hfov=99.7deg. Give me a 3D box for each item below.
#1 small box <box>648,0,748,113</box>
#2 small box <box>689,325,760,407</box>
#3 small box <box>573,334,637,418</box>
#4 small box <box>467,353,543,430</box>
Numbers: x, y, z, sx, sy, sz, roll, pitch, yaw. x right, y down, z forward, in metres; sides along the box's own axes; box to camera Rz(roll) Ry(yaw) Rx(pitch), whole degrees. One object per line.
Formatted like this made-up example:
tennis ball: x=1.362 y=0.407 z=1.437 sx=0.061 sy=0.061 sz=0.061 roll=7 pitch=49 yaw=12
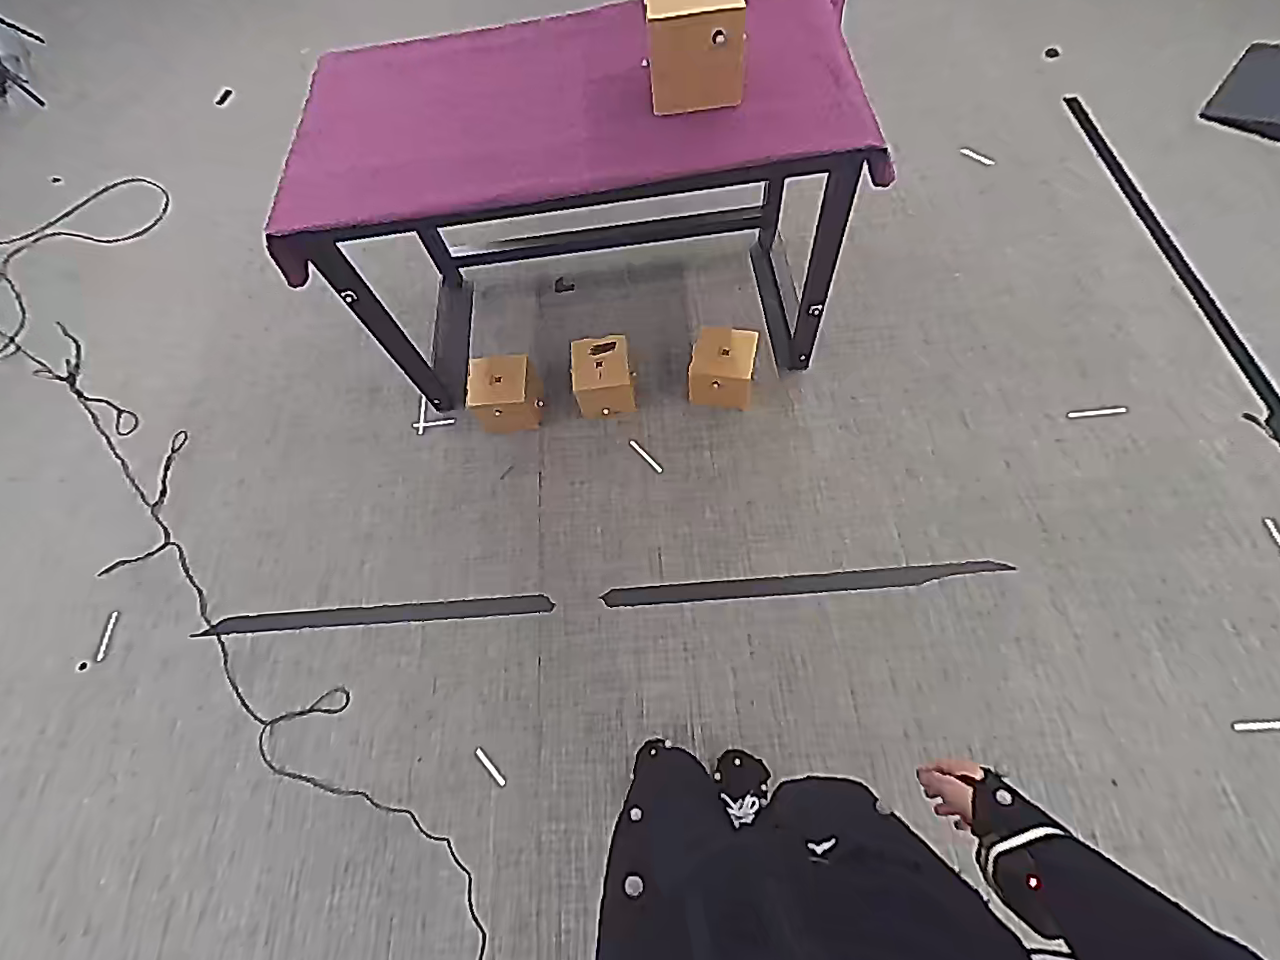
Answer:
small box: x=0.108 y=-0.851 z=1.045 sx=0.179 sy=0.176 sz=0.168 roll=-5 pitch=65 yaw=6
small box: x=0.251 y=-0.332 z=1.601 sx=0.179 sy=0.176 sz=0.168 roll=9 pitch=68 yaw=12
small box: x=-0.104 y=-0.311 z=1.633 sx=0.168 sy=0.176 sz=0.179 roll=-7 pitch=66 yaw=4
small box: x=-0.406 y=-0.264 z=1.651 sx=0.179 sy=0.176 sz=0.168 roll=-4 pitch=67 yaw=4
